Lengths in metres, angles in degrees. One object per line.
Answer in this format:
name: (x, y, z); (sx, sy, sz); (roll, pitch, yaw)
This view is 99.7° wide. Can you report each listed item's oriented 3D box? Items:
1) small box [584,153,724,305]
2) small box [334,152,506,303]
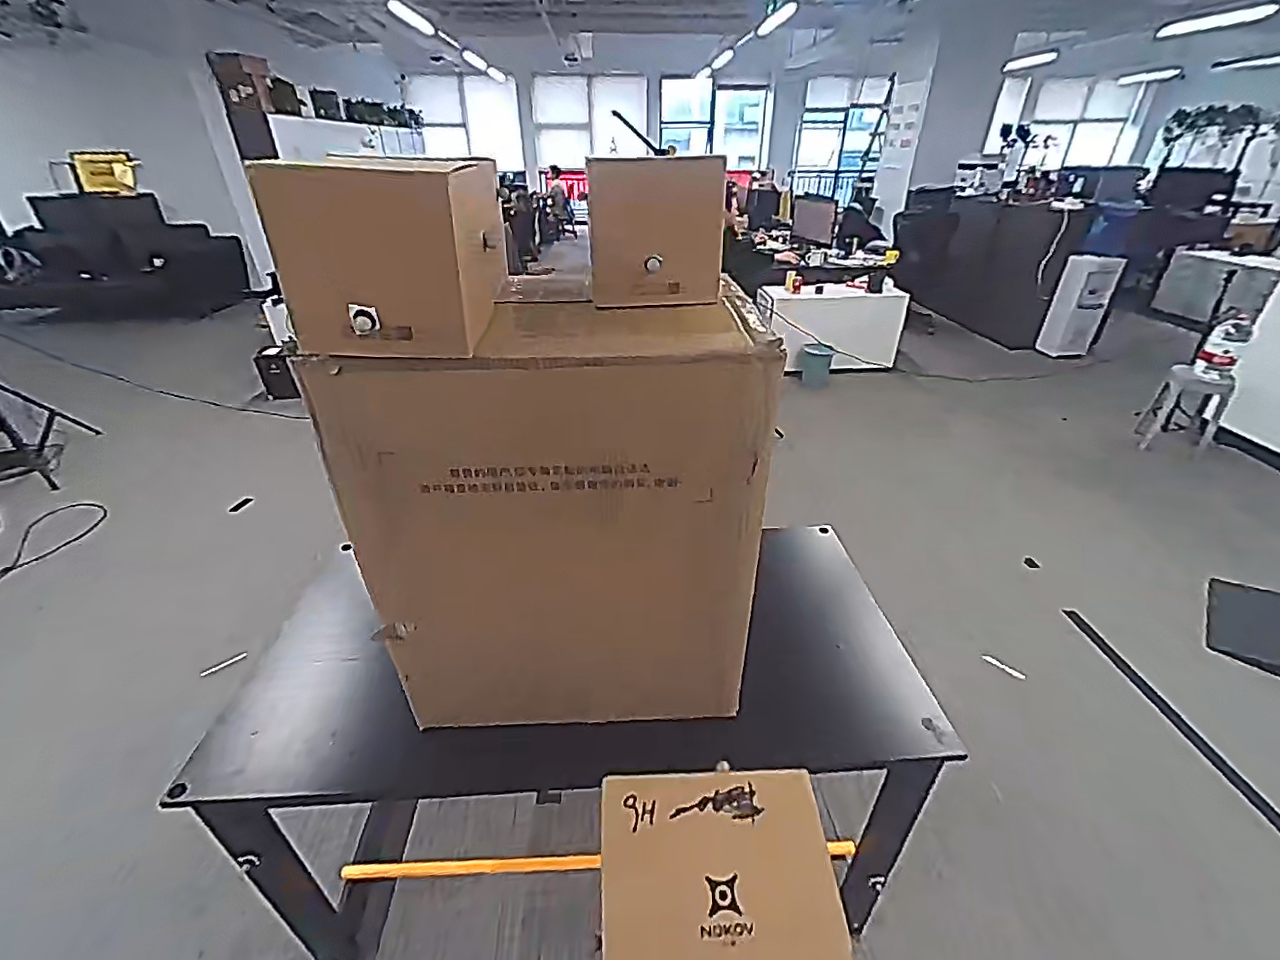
small box: (0.011, -0.339, 0.729); (0.168, 0.176, 0.179); (-4, 31, -4)
small box: (-0.284, -0.347, 0.743); (0.168, 0.176, 0.179); (-2, 30, -4)
